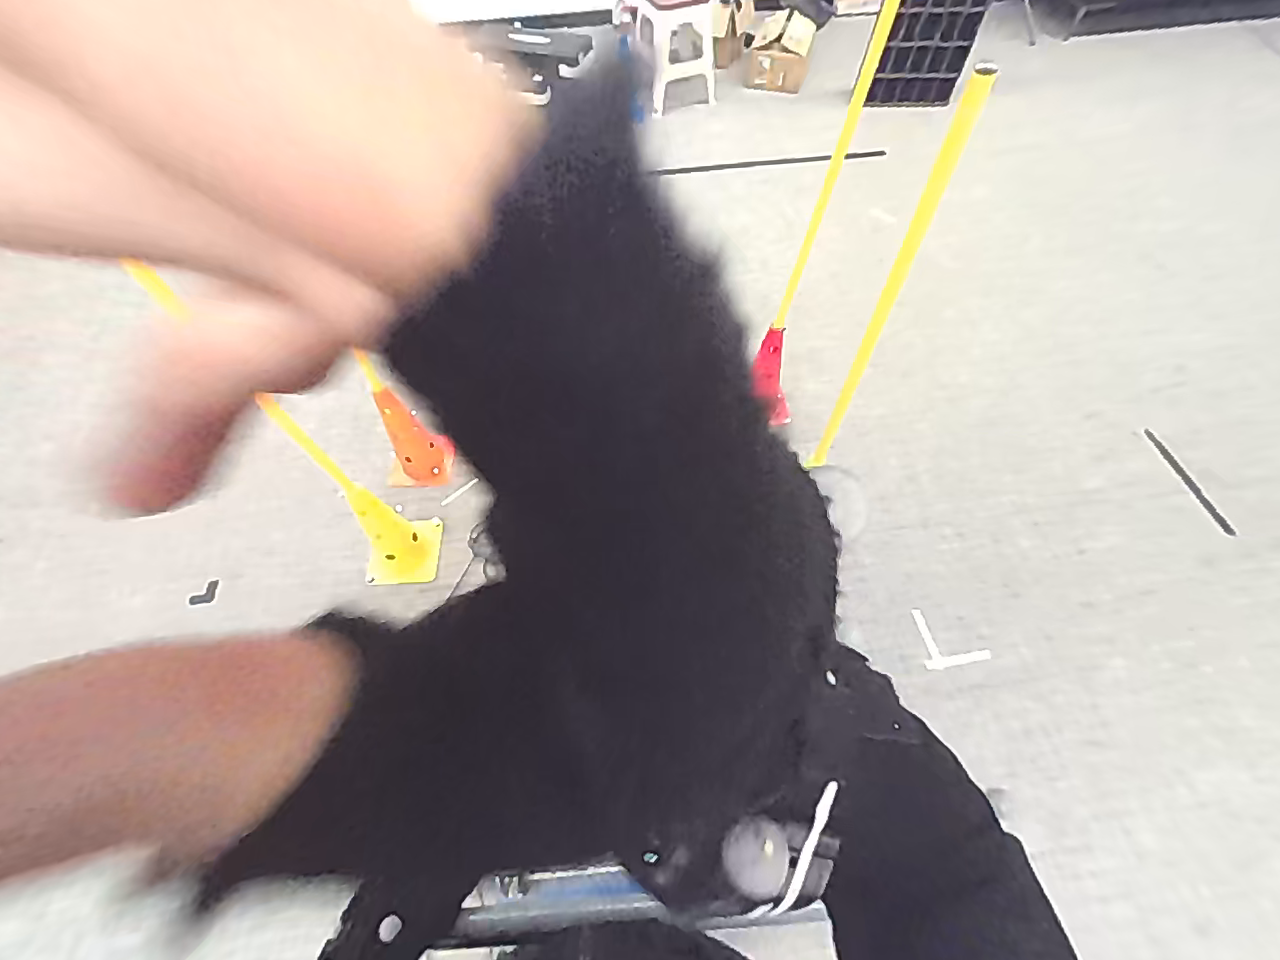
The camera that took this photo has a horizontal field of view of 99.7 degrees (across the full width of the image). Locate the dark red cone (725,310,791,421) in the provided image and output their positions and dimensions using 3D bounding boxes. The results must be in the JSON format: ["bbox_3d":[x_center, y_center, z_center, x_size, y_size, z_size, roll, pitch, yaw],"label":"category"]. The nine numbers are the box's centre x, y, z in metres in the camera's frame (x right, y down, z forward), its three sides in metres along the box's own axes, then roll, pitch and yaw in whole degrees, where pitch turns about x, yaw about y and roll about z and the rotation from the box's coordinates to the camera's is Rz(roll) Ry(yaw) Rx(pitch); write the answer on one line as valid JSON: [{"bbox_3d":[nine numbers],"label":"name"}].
[{"bbox_3d":[0.403,-0.369,1.715,0.201,0.394,0.202,-5,58,-4],"label":"dark red cone"}]

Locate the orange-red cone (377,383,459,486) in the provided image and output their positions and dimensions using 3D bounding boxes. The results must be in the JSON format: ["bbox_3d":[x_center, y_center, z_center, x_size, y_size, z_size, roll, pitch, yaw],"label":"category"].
[{"bbox_3d":[-0.709,-0.160,1.638,0.198,0.360,0.199,1,56,1],"label":"orange-red cone"}]
